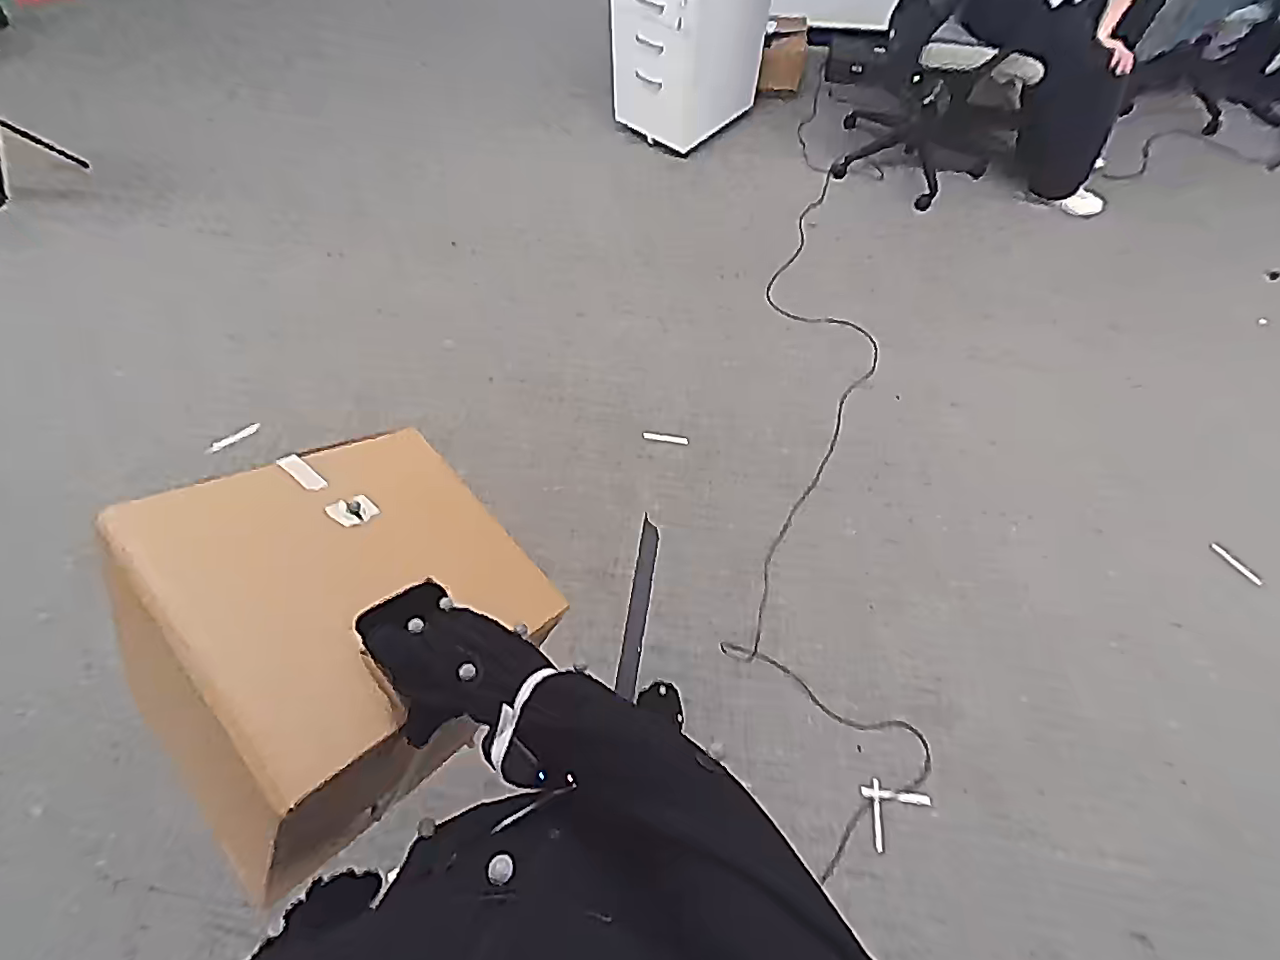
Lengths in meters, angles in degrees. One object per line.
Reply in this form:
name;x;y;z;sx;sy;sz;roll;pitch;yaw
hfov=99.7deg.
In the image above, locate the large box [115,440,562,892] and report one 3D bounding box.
large box;-0.365;0.220;0.675;0.320;0.408;0.320;46;39;14
